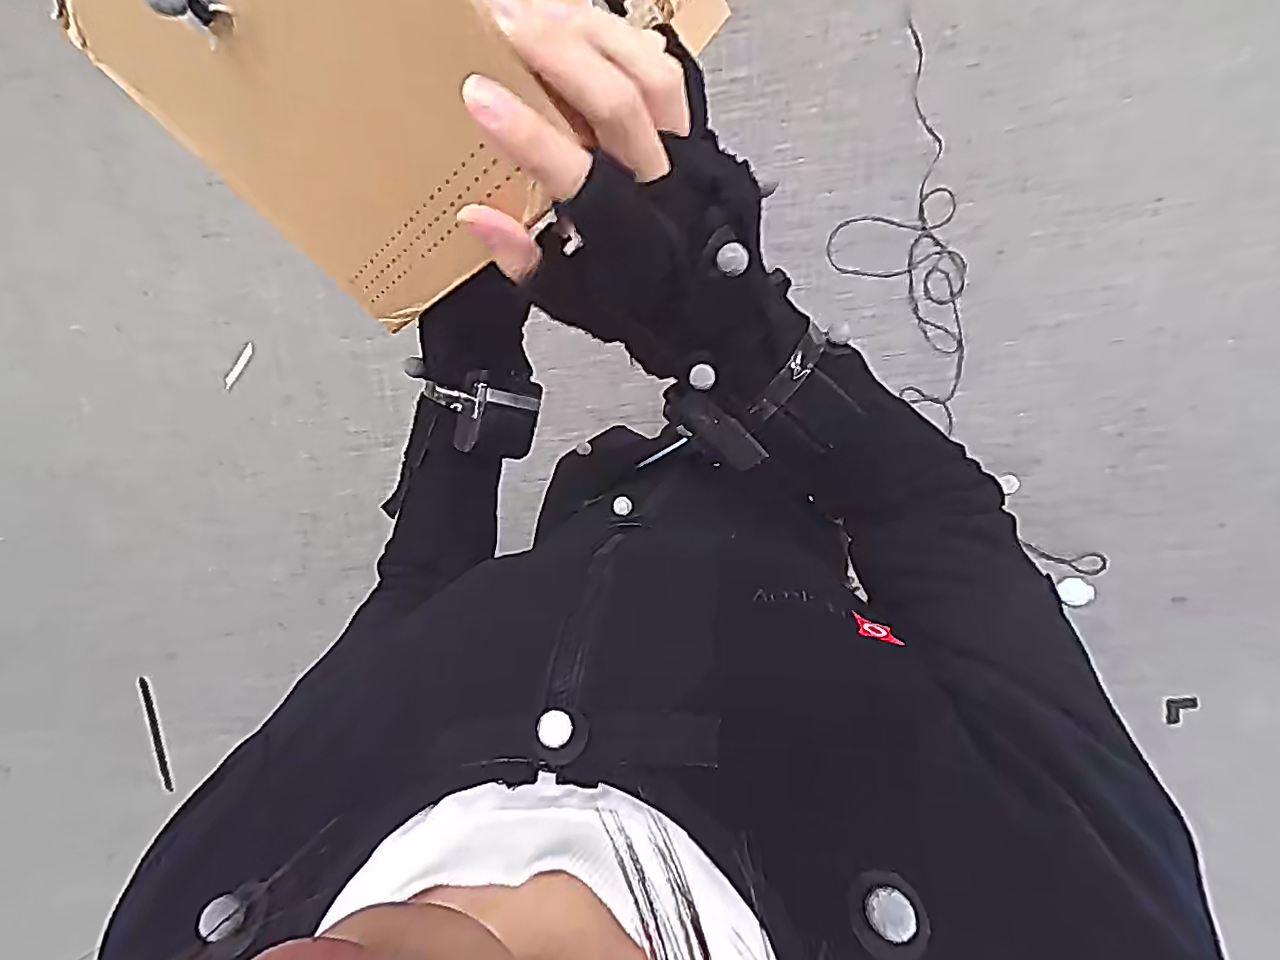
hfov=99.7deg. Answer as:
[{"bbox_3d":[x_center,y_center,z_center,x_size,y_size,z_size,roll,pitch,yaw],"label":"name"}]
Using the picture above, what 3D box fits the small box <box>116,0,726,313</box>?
[{"bbox_3d":[-0.091,-0.210,0.259,0.179,0.168,0.176,-8,136,45],"label":"small box"}]
